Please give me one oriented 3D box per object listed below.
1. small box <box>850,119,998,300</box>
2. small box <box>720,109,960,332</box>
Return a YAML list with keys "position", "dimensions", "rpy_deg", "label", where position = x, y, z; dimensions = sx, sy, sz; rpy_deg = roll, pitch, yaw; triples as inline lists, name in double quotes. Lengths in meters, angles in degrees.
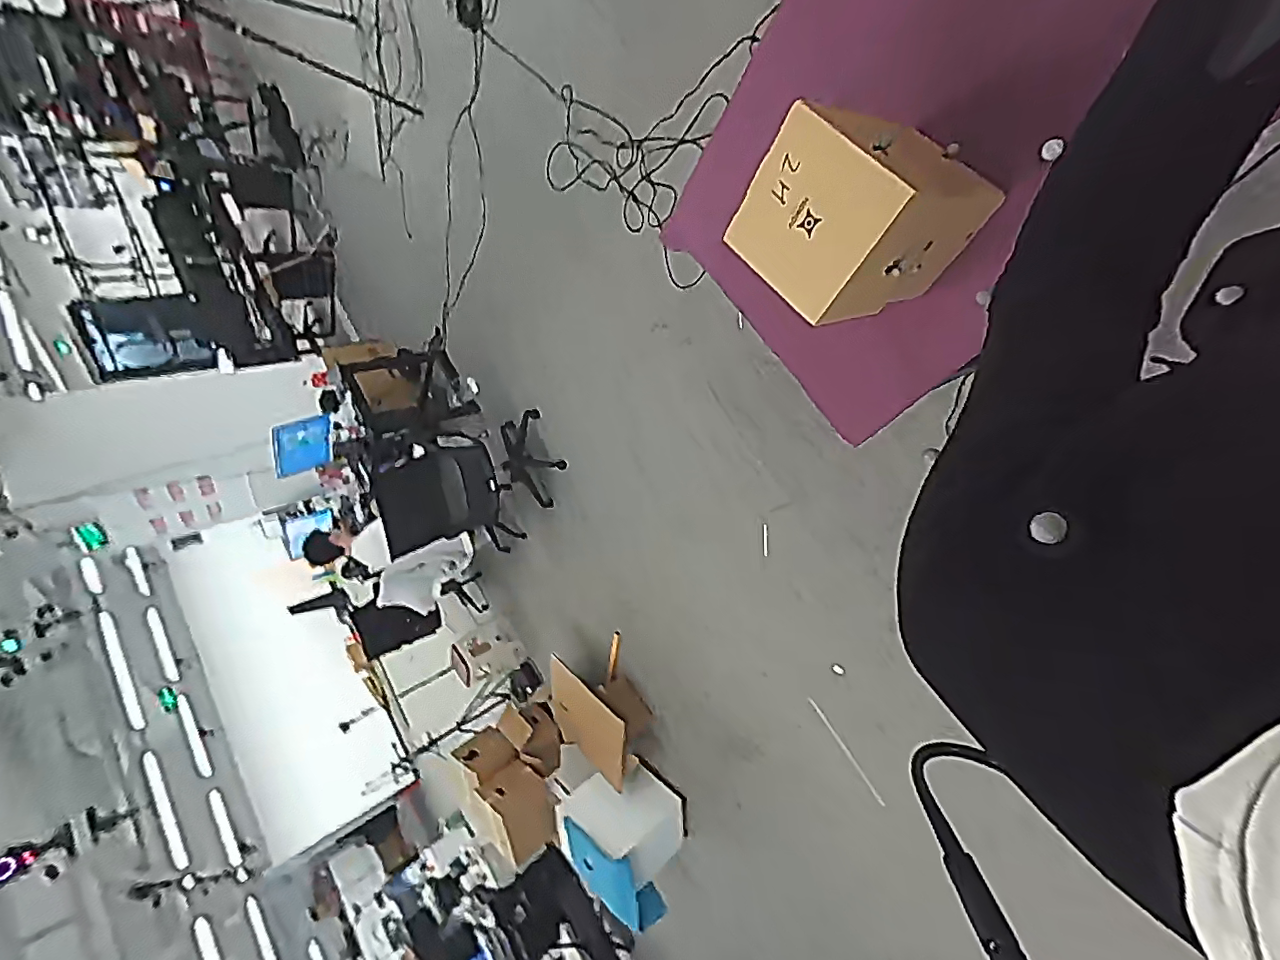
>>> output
- position: [0.349, -0.367, 0.760]
  dimensions: [0.179, 0.176, 0.168]
  rpy_deg: [52, 139, 20]
  label: "small box"
- position: [0.238, -0.307, 0.651]
  dimensions: [0.179, 0.176, 0.168]
  rpy_deg: [53, 138, 19]
  label: "small box"
